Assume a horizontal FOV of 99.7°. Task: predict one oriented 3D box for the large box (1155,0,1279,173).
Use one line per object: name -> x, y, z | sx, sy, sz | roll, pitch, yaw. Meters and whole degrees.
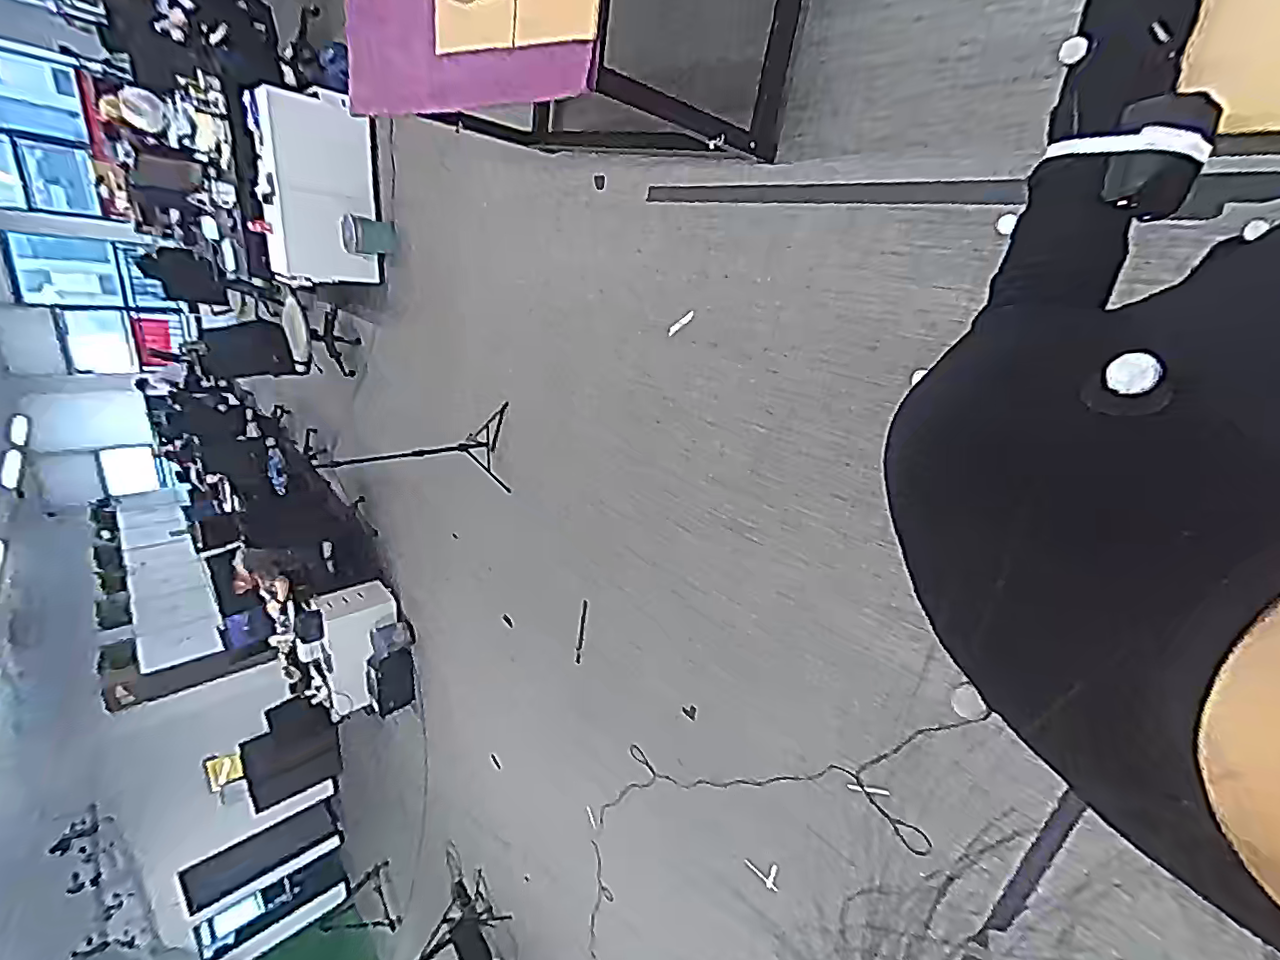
large box -> 0.615, -0.366, 0.303 | 0.408, 0.320, 0.320 | 23, 126, 38
